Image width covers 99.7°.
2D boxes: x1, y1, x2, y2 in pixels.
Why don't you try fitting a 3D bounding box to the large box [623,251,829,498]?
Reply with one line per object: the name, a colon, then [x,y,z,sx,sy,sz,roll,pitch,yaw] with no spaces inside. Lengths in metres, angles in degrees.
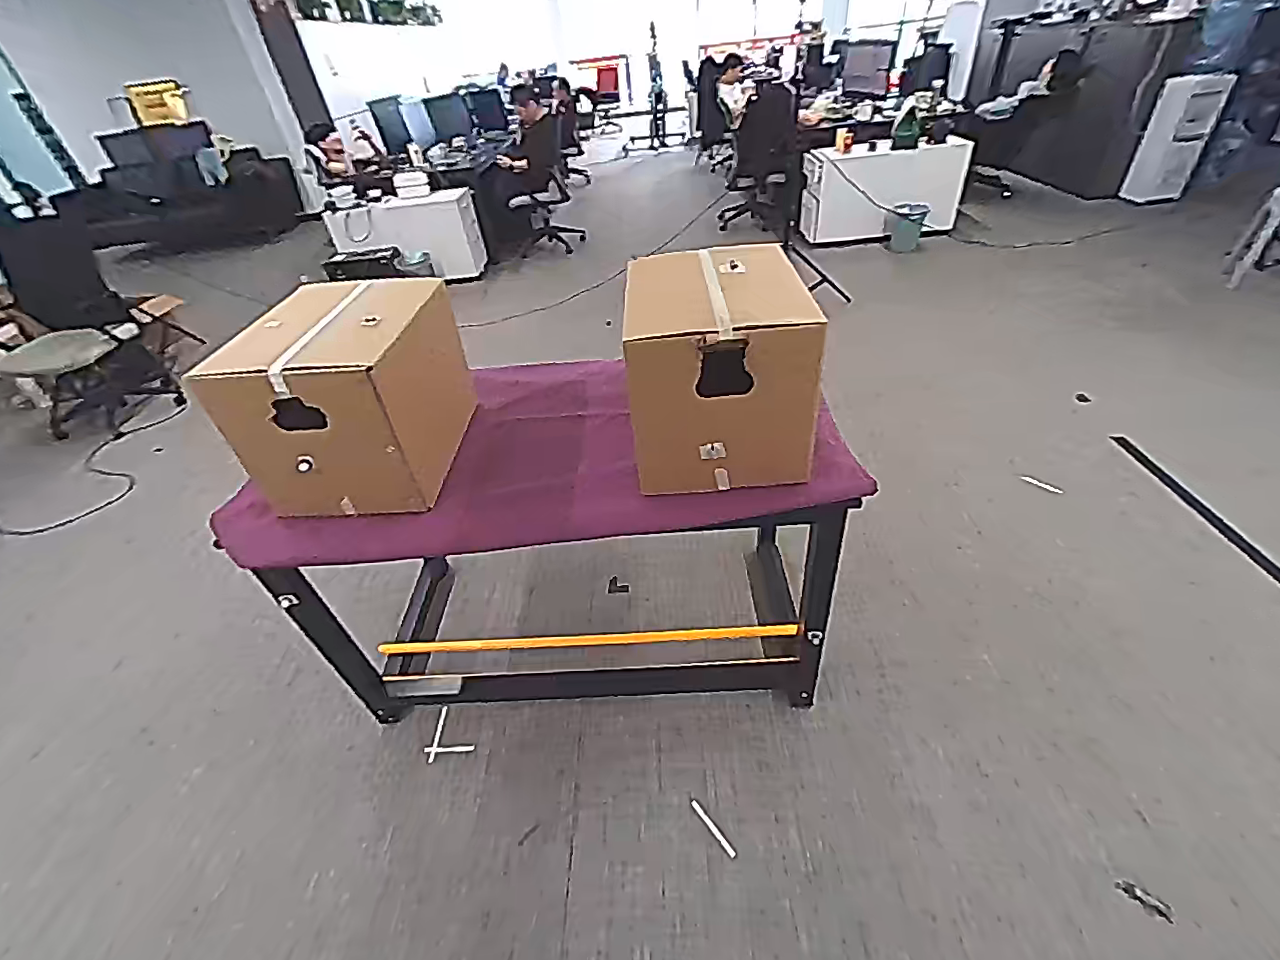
large box: [0.143,-0.215,1.049,0.320,0.320,0.408,-4,38,3]
